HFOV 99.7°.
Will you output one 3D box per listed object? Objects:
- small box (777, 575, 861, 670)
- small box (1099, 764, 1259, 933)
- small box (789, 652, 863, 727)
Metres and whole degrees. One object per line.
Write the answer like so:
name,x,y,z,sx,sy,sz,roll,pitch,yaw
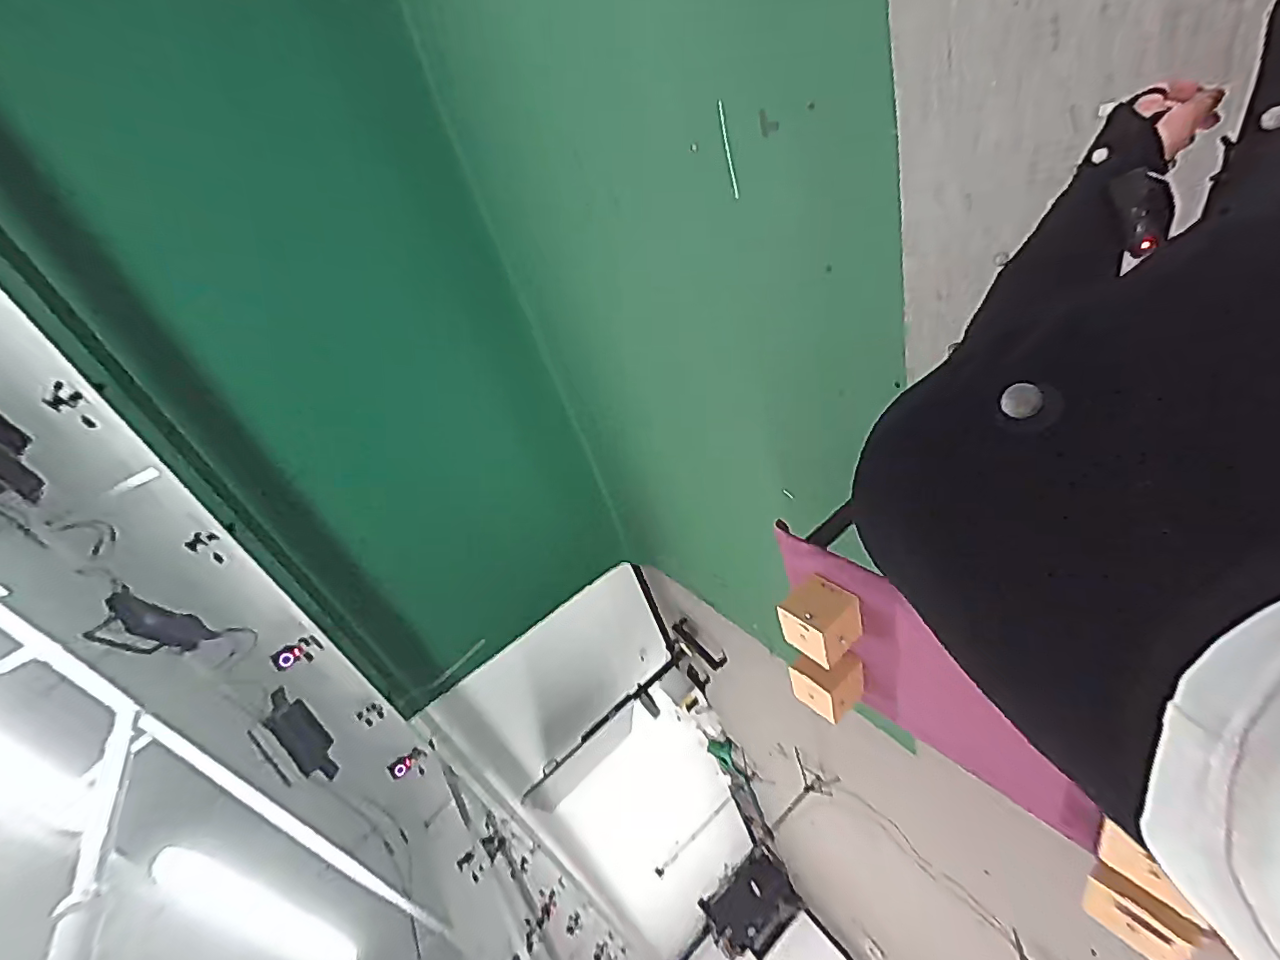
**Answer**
small box,0.543,0.424,1.626,0.168,0.176,0.179,26,147,48
small box,1.015,0.685,1.023,0.168,0.176,0.179,26,145,52
small box,0.624,0.671,1.804,0.168,0.176,0.179,25,142,48
